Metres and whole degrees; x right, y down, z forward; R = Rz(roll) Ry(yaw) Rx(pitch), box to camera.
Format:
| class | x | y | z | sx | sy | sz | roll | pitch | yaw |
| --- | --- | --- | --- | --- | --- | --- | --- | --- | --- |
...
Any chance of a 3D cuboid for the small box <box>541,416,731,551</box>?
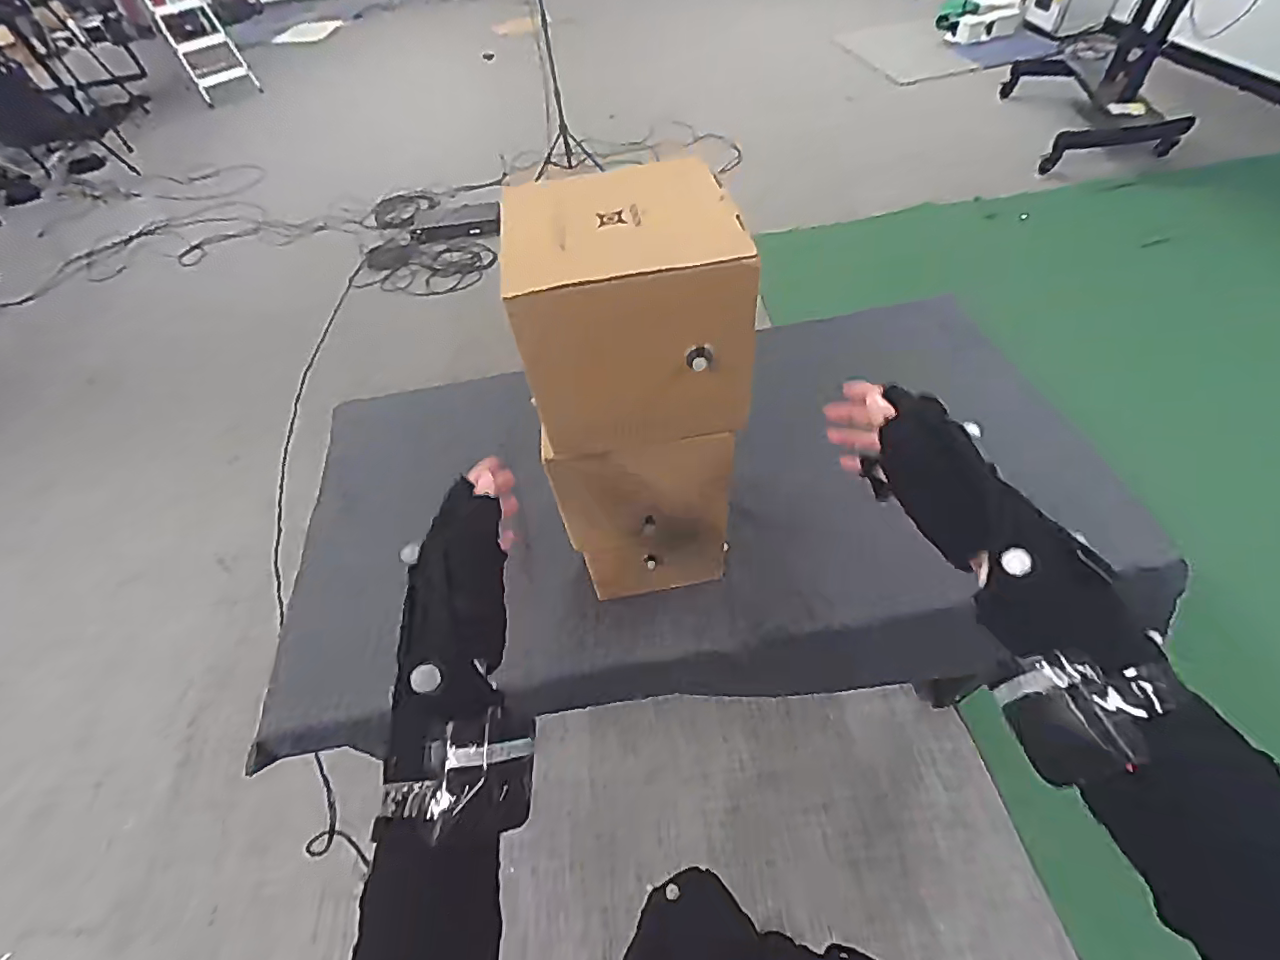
| class | x | y | z | sx | sy | sz | roll | pitch | yaw |
| --- | --- | --- | --- | --- | --- | --- | --- | --- | --- |
| small box | -0.008 | -0.041 | 0.599 | 0.179 | 0.176 | 0.168 | -11 | 54 | -1 |

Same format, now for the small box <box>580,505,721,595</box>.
| class | x | y | z | sx | sy | sz | roll | pitch | yaw |
| --- | --- | --- | --- | --- | --- | --- | --- | --- | --- |
| small box | 0.006 | 0.038 | 0.739 | 0.179 | 0.176 | 0.168 | -11 | 52 | -1 |

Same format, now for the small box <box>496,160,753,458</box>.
| class | x | y | z | sx | sy | sz | roll | pitch | yaw |
| --- | --- | --- | --- | --- | --- | --- | --- | --- | --- |
| small box | -0.014 | -0.141 | 0.468 | 0.179 | 0.176 | 0.168 | -11 | 51 | -1 |
